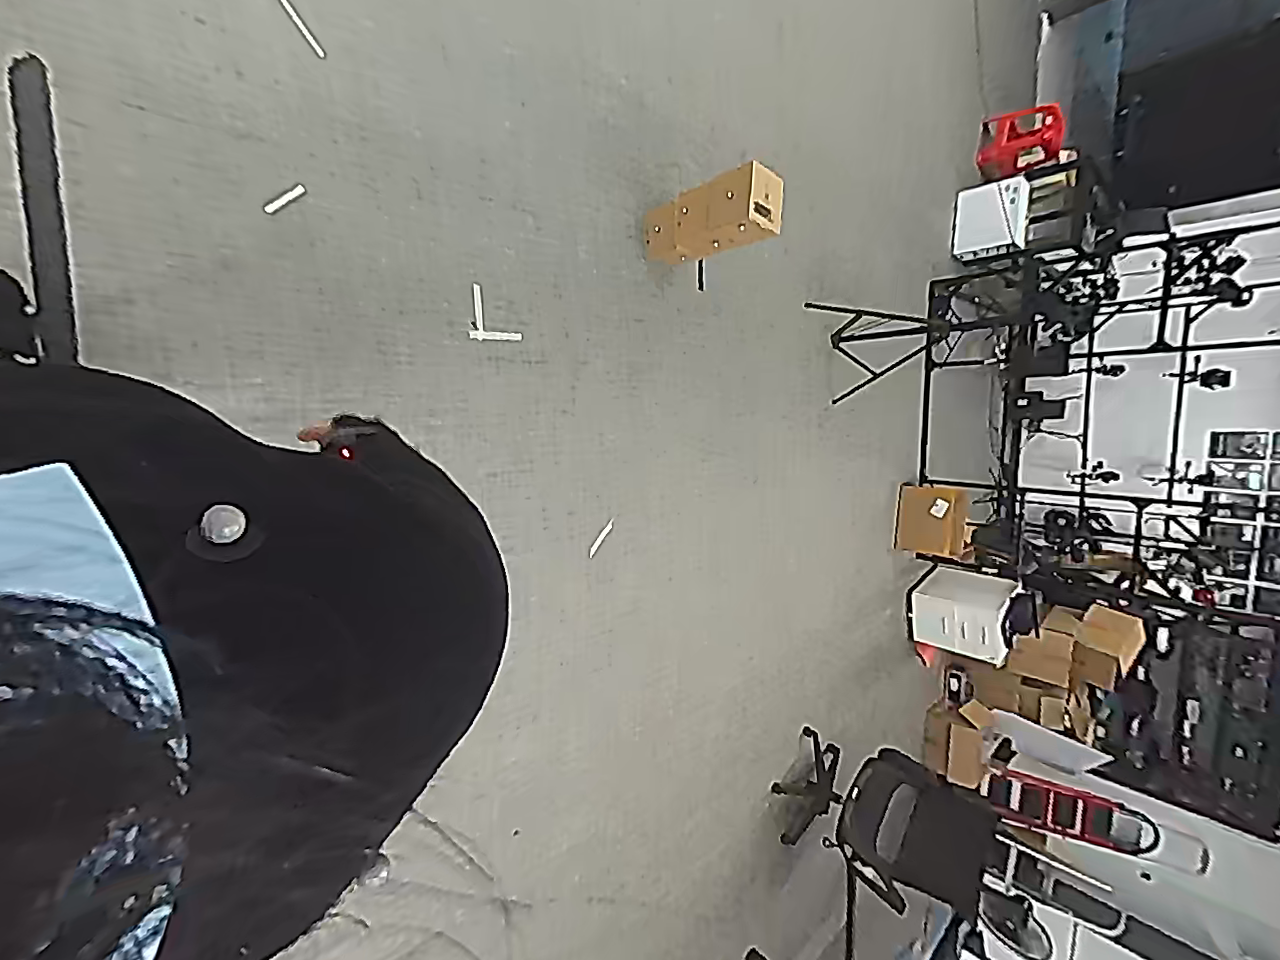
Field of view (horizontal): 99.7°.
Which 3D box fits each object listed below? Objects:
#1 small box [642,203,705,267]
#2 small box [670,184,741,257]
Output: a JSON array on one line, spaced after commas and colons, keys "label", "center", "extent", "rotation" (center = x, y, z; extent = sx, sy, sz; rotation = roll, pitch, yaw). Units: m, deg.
[{"label": "small box", "center": [0.120, -0.893, 1.989], "extent": [0.179, 0.176, 0.168], "rotation": [-9, 101, -43]}, {"label": "small box", "center": [0.227, -0.885, 1.867], "extent": [0.179, 0.176, 0.168], "rotation": [0, 94, -42]}]
